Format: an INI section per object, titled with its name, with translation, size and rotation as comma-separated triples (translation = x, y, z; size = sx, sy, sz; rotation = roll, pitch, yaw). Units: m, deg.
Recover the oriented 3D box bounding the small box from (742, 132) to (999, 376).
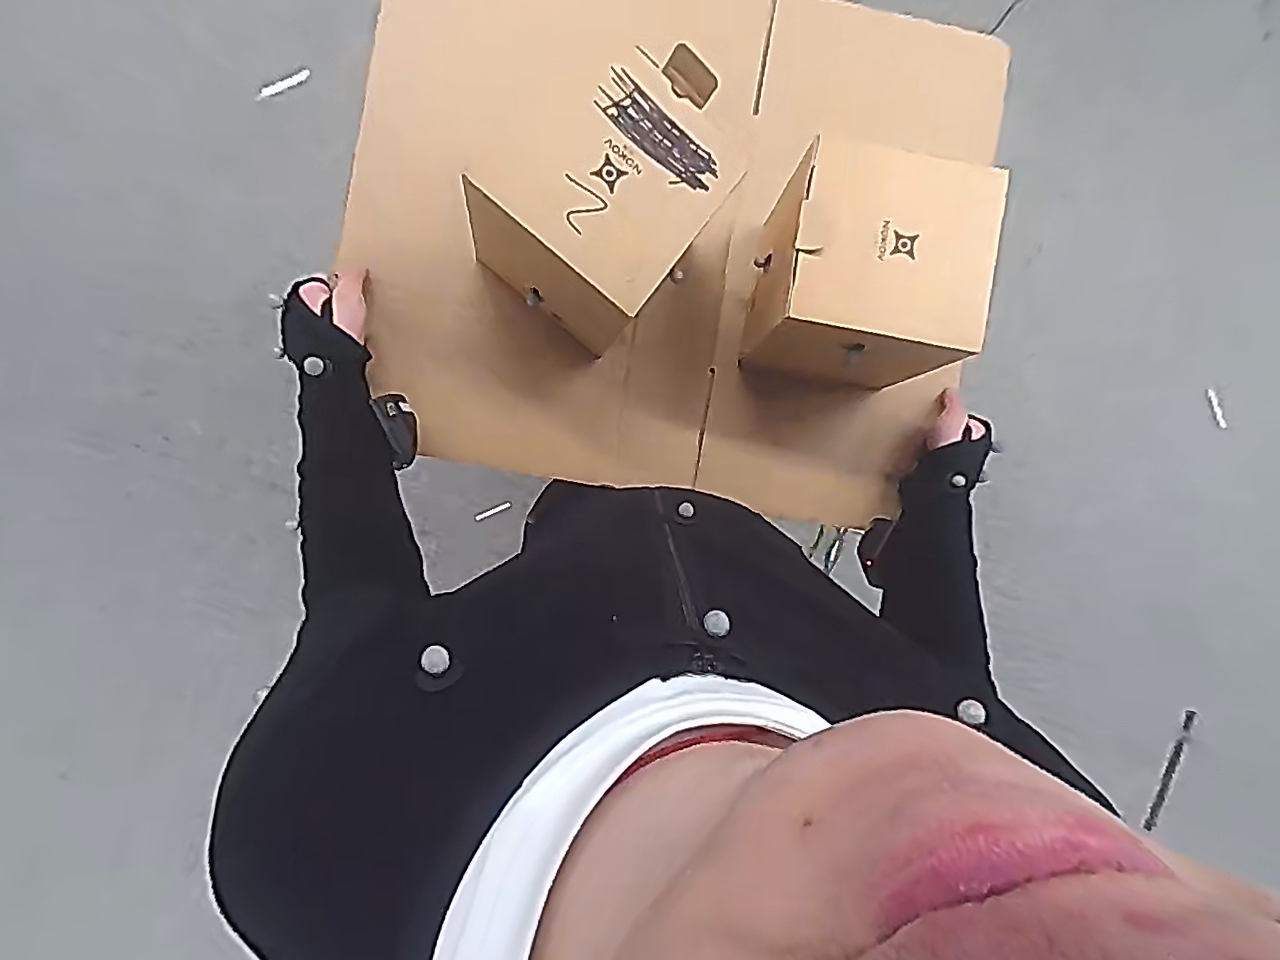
[small box]
translation = 0.220, -0.212, 0.559
size = 0.179, 0.176, 0.168
rotation = 10, 89, -2
